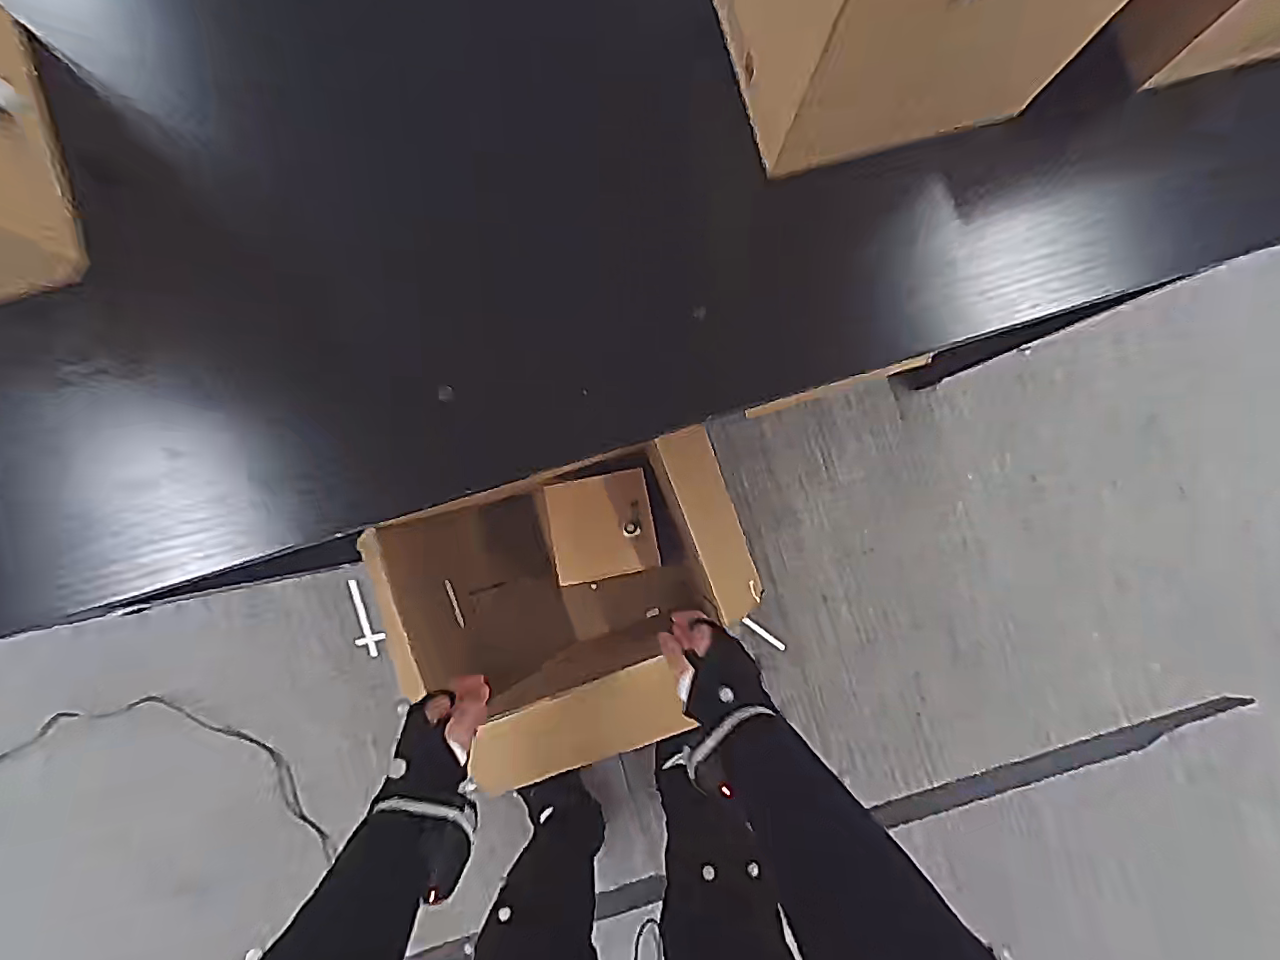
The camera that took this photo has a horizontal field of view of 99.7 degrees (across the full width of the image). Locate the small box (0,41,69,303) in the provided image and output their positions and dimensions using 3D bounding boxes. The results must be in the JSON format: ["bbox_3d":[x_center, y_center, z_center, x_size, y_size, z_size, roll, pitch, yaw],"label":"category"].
[{"bbox_3d":[-0.435,-0.184,0.243,0.168,0.176,0.179,-18,87,-4],"label":"small box"}]

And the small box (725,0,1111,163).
[{"bbox_3d":[0.144,-0.296,0.271,0.179,0.176,0.168,-15,87,-4],"label":"small box"}]

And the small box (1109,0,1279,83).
[{"bbox_3d":[0.380,-0.364,0.281,0.168,0.176,0.179,-16,86,-2],"label":"small box"}]
